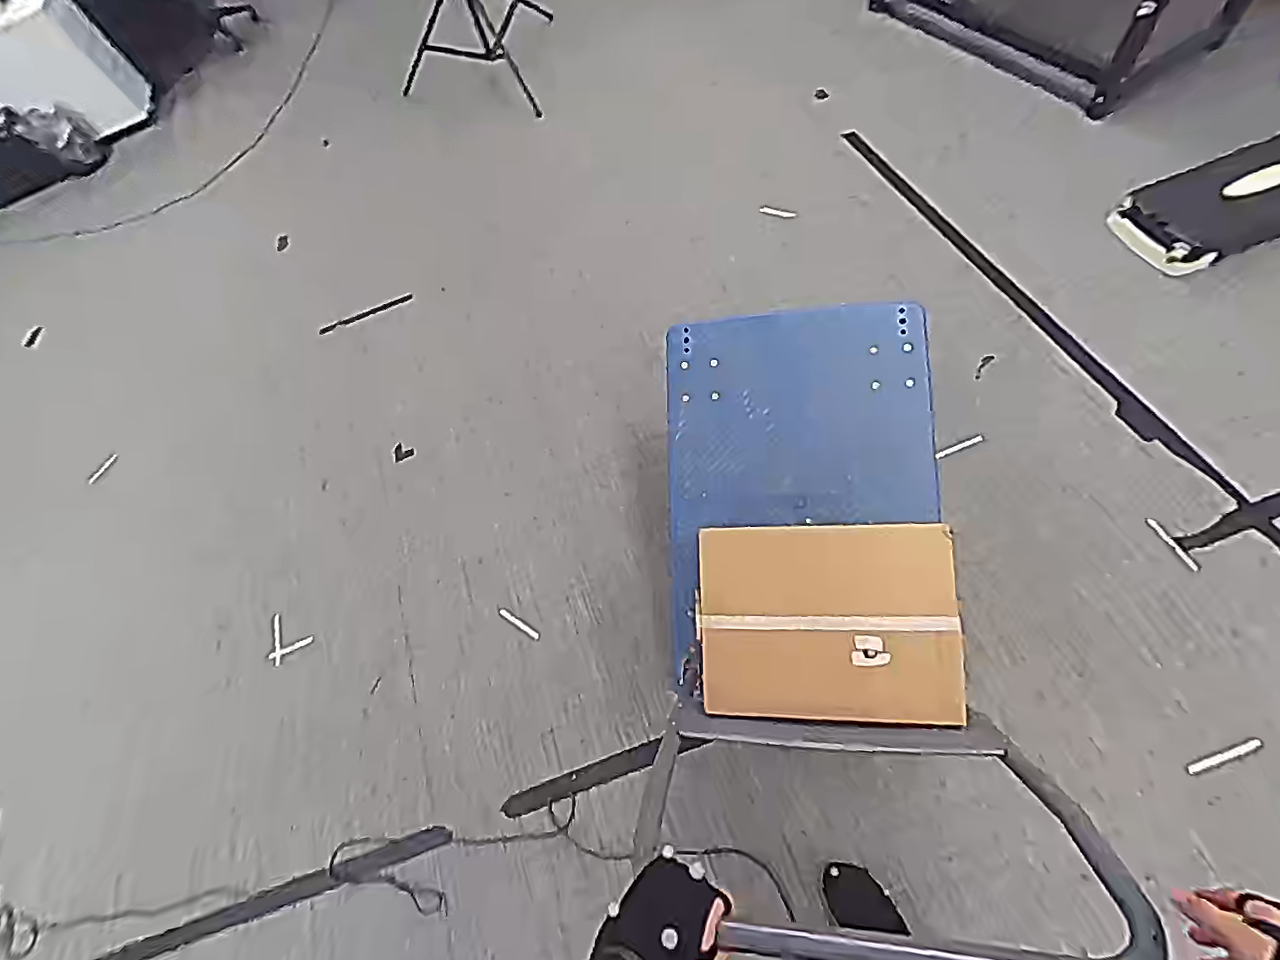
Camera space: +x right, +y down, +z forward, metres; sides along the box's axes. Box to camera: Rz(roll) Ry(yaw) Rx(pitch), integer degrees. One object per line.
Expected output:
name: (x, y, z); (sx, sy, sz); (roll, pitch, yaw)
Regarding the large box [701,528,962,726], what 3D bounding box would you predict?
large box: (0.331, 0.256, 1.037); (0.408, 0.320, 0.320); (-2, 85, 11)
